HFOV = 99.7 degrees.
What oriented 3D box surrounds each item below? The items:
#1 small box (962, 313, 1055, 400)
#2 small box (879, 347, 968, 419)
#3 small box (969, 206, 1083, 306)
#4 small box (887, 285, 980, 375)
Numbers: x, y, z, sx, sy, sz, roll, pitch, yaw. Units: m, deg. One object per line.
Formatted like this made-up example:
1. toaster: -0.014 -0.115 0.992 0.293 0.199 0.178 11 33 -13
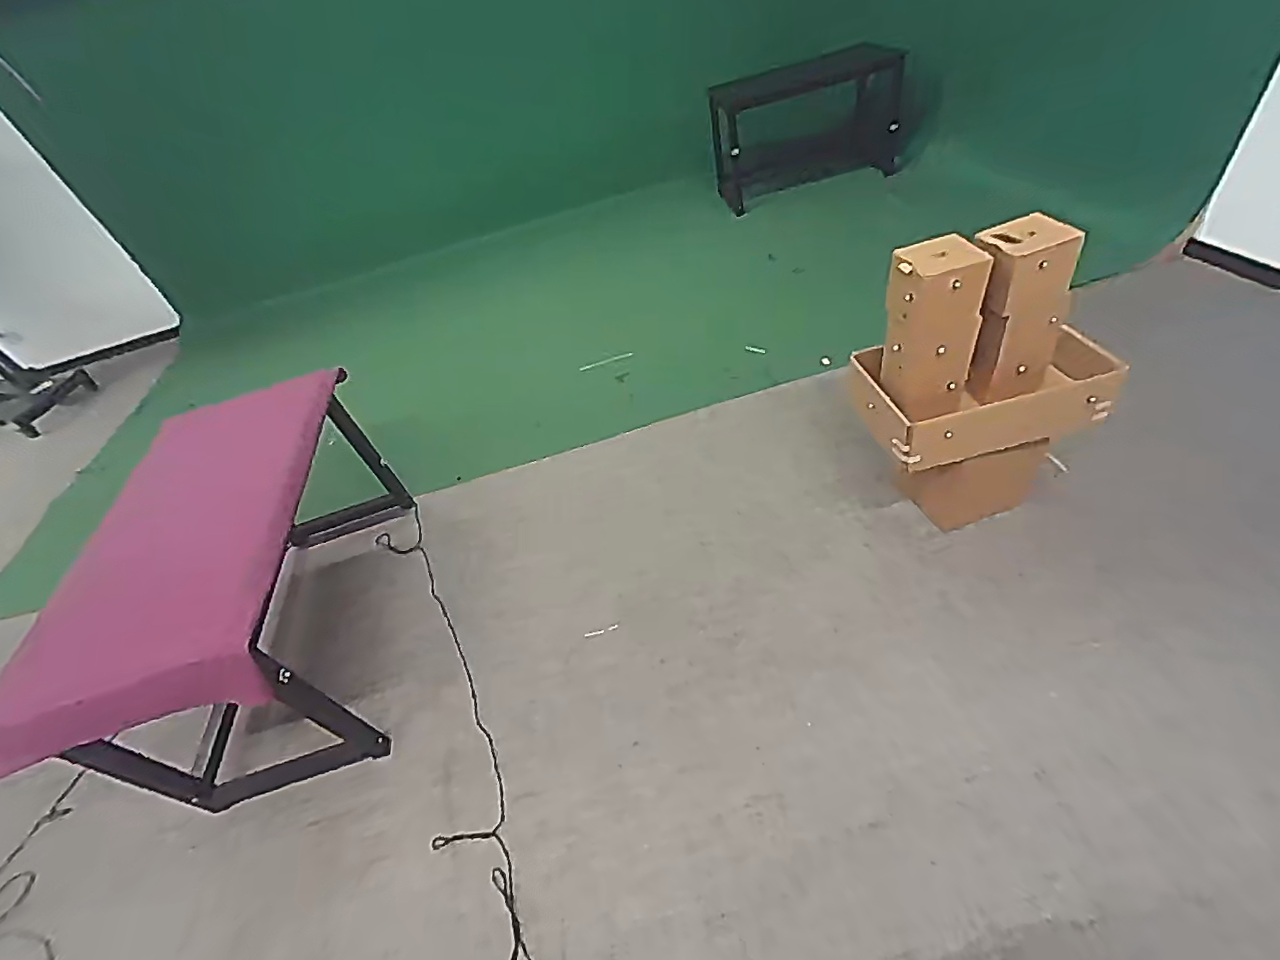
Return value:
1. small box: 1.104 -0.375 1.650 0.179 0.176 0.168 -18 45 3
2. small box: 0.858 -0.313 1.657 0.179 0.176 0.168 -14 44 2
3. small box: 0.997 -0.584 1.419 0.179 0.176 0.168 -20 45 1
4. small box: 0.824 -0.424 1.543 0.179 0.176 0.168 -15 45 3
